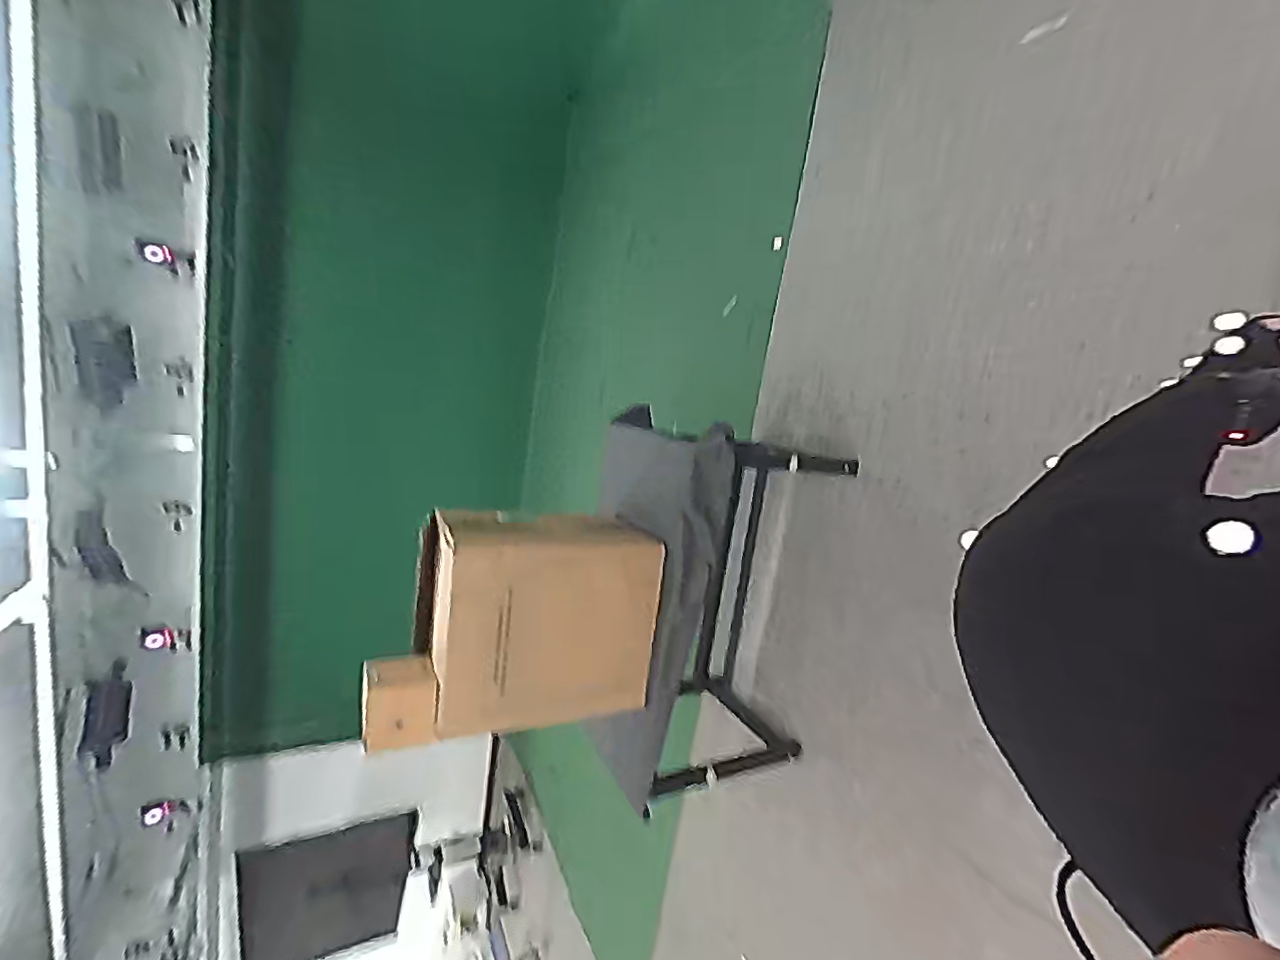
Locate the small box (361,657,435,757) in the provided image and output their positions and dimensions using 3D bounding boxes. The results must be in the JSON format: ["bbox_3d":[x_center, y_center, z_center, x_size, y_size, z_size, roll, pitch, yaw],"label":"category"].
[{"bbox_3d":[-0.648,0.597,1.446,0.168,0.176,0.179,17,104,58],"label":"small box"}]
